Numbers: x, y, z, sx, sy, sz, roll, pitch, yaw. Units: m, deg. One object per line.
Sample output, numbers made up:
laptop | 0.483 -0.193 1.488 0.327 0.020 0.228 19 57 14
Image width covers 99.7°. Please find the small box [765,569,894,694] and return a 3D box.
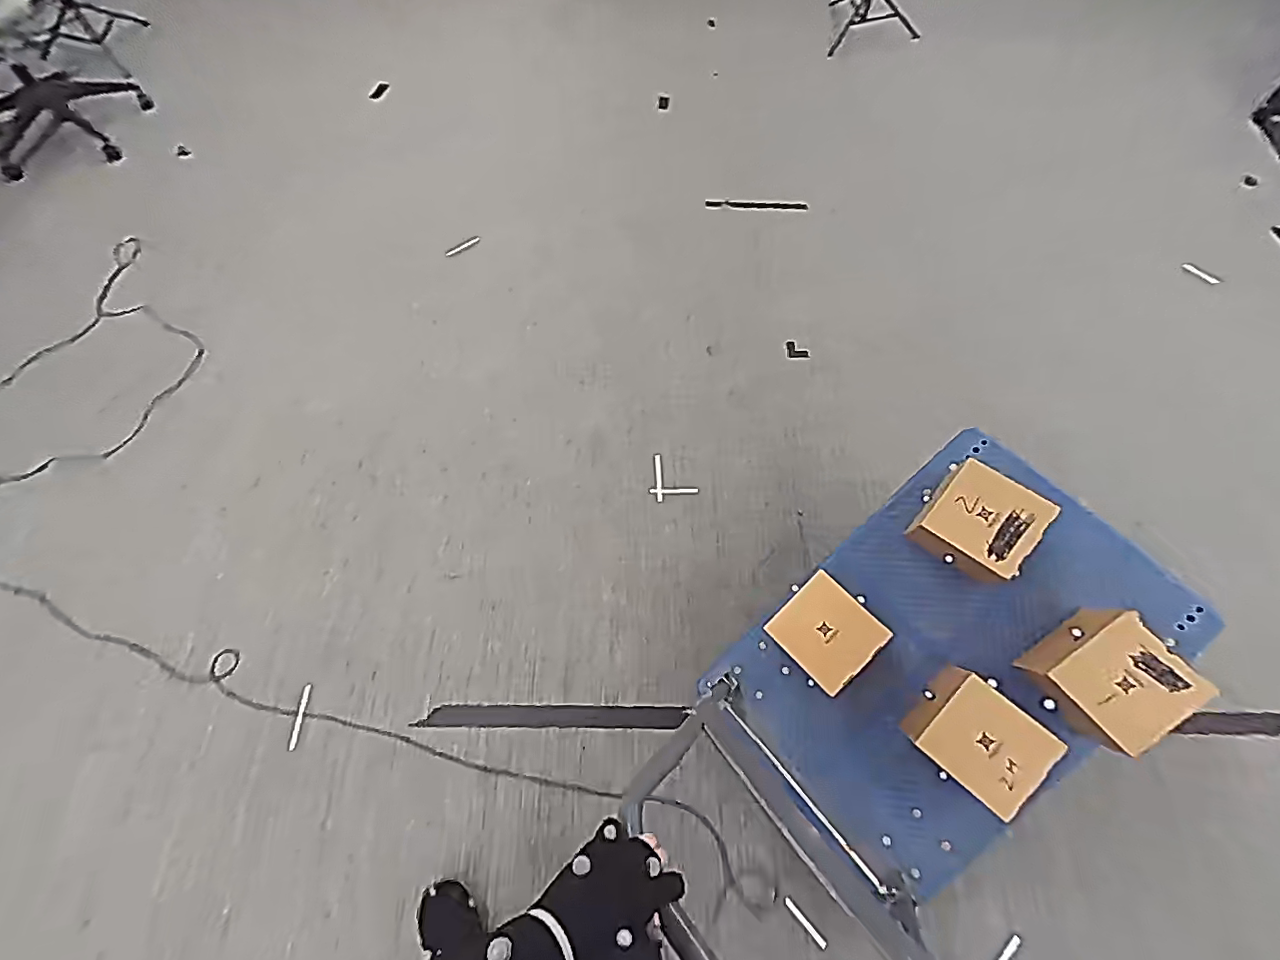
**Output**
small box | 0.375 0.304 1.103 0.168 0.176 0.179 -45 72 1

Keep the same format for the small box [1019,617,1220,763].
small box | 0.830 0.359 0.963 0.179 0.176 0.168 -40 70 4

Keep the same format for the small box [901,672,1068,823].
small box | 0.614 0.474 0.994 0.179 0.176 0.168 41 90 20
